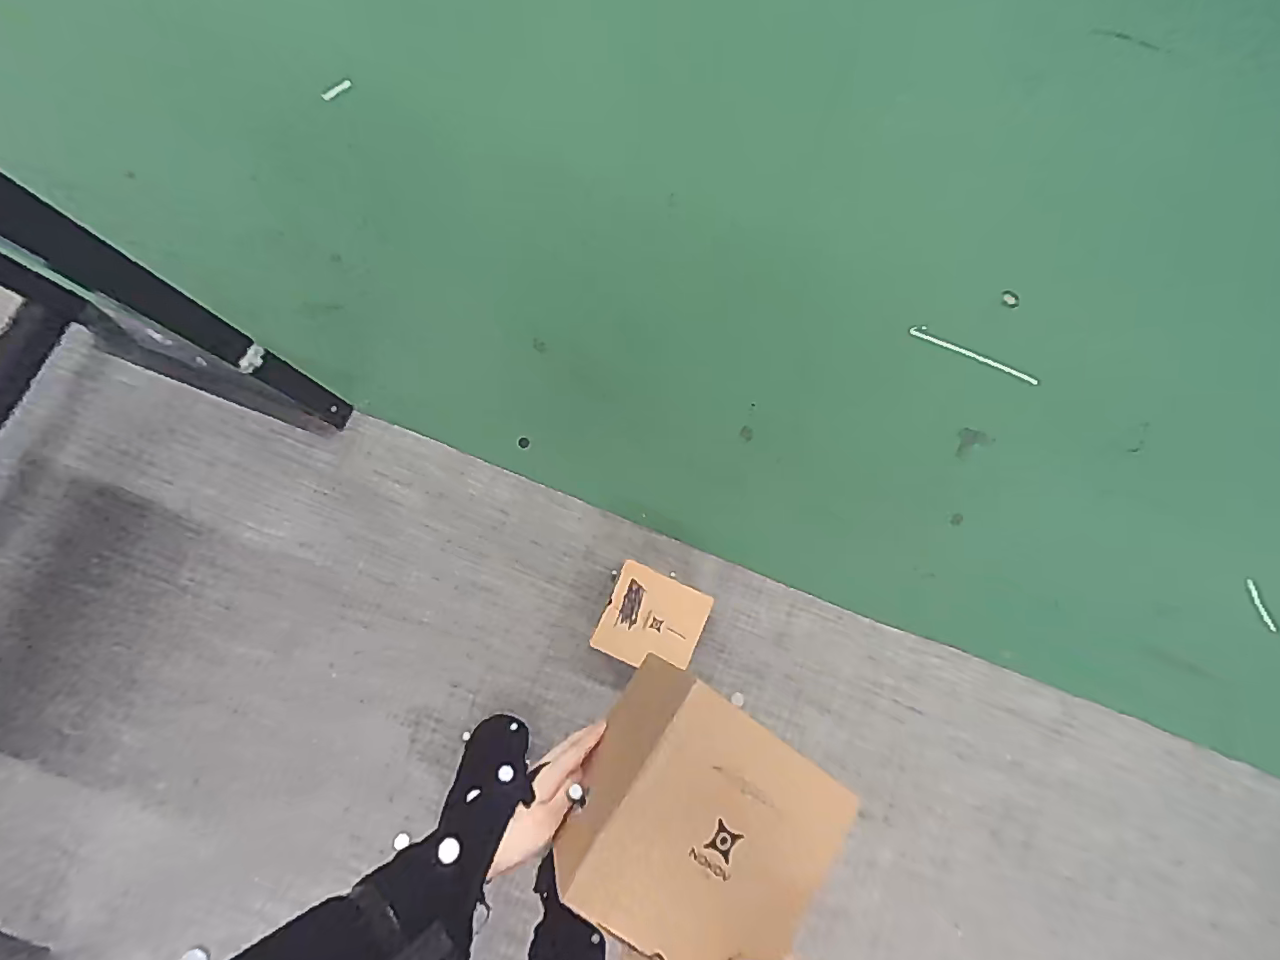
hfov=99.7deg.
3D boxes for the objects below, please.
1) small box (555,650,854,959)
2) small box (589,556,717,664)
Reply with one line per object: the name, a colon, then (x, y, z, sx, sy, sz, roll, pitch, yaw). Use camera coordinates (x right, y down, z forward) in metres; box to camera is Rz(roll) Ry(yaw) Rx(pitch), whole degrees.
small box: (0.040, 0.273, 0.472, 0.168, 0.176, 0.179, 37, 74, -4)
small box: (0.019, 0.256, 1.013, 0.179, 0.176, 0.168, 25, 80, 1)
